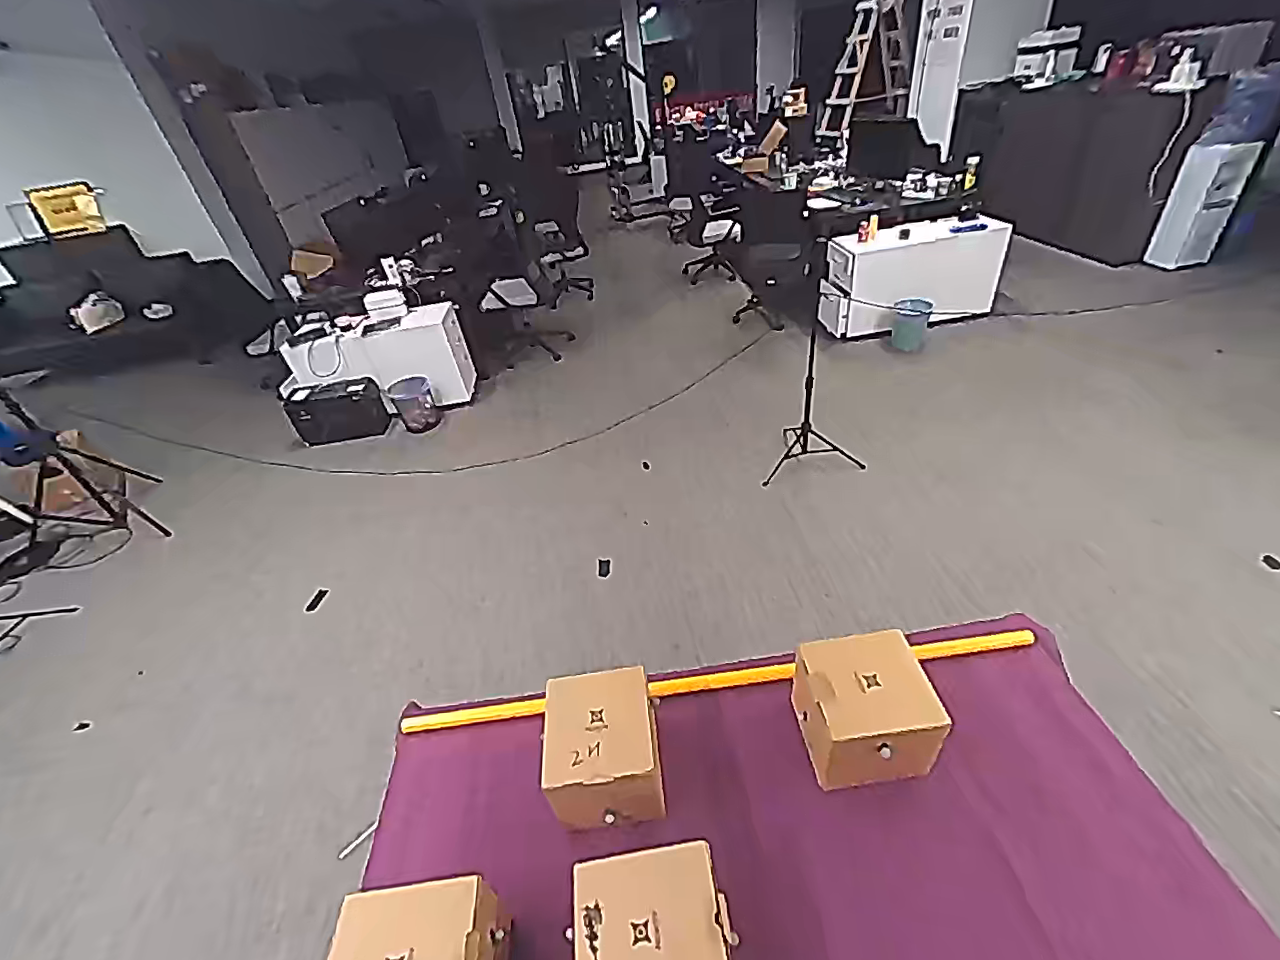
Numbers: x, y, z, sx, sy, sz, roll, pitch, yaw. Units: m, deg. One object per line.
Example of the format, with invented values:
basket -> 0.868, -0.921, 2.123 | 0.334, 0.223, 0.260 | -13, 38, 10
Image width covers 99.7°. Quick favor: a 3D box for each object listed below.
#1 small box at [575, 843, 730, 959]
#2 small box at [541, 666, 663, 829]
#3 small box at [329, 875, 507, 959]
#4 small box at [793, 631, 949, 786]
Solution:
small box -> 0.019, 0.587, 0.674 | 0.179, 0.176, 0.168 | -9, 37, -1
small box -> -0.058, 0.437, 0.887 | 0.168, 0.176, 0.179 | -9, 39, 1
small box -> -0.274, 0.629, 0.677 | 0.179, 0.176, 0.168 | -8, 36, -1
small box -> 0.360, 0.373, 0.883 | 0.179, 0.176, 0.168 | -9, 38, 1
